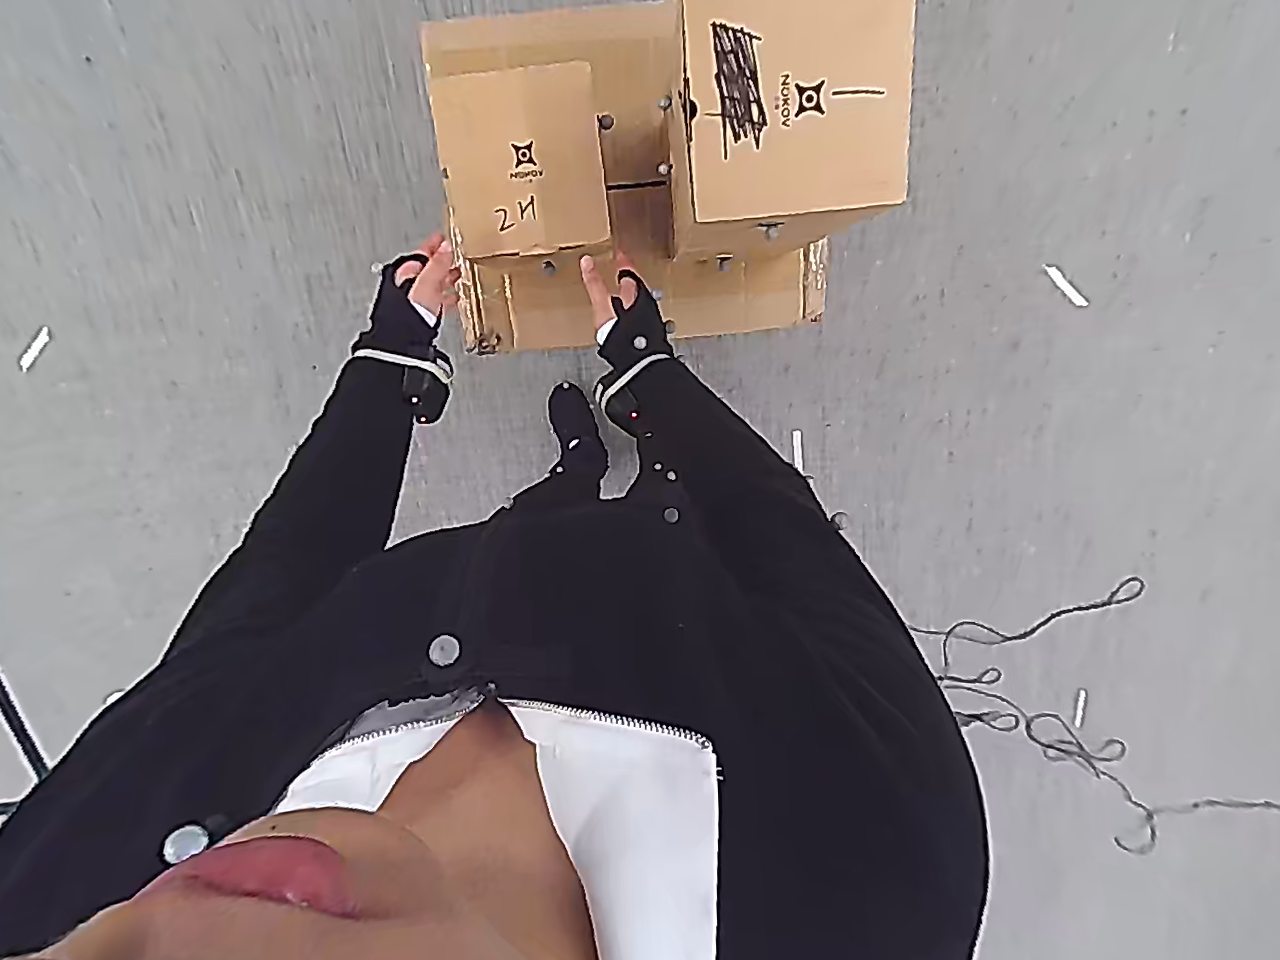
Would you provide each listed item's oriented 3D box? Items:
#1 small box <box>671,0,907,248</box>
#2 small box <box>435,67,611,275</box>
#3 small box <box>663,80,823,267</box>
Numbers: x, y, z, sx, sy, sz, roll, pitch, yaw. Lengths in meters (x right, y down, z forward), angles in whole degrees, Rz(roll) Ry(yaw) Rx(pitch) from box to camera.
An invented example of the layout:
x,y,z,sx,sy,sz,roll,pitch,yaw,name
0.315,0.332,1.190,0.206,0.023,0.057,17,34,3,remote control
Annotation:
x,y,z,sx,sy,sz,roll,pitch,yaw,name
0.120,-0.320,0.502,0.179,0.176,0.168,-5,107,1,small box
-0.127,-0.356,0.655,0.168,0.176,0.179,-7,107,-1,small box
0.117,-0.366,0.661,0.168,0.176,0.179,-5,108,2,small box
